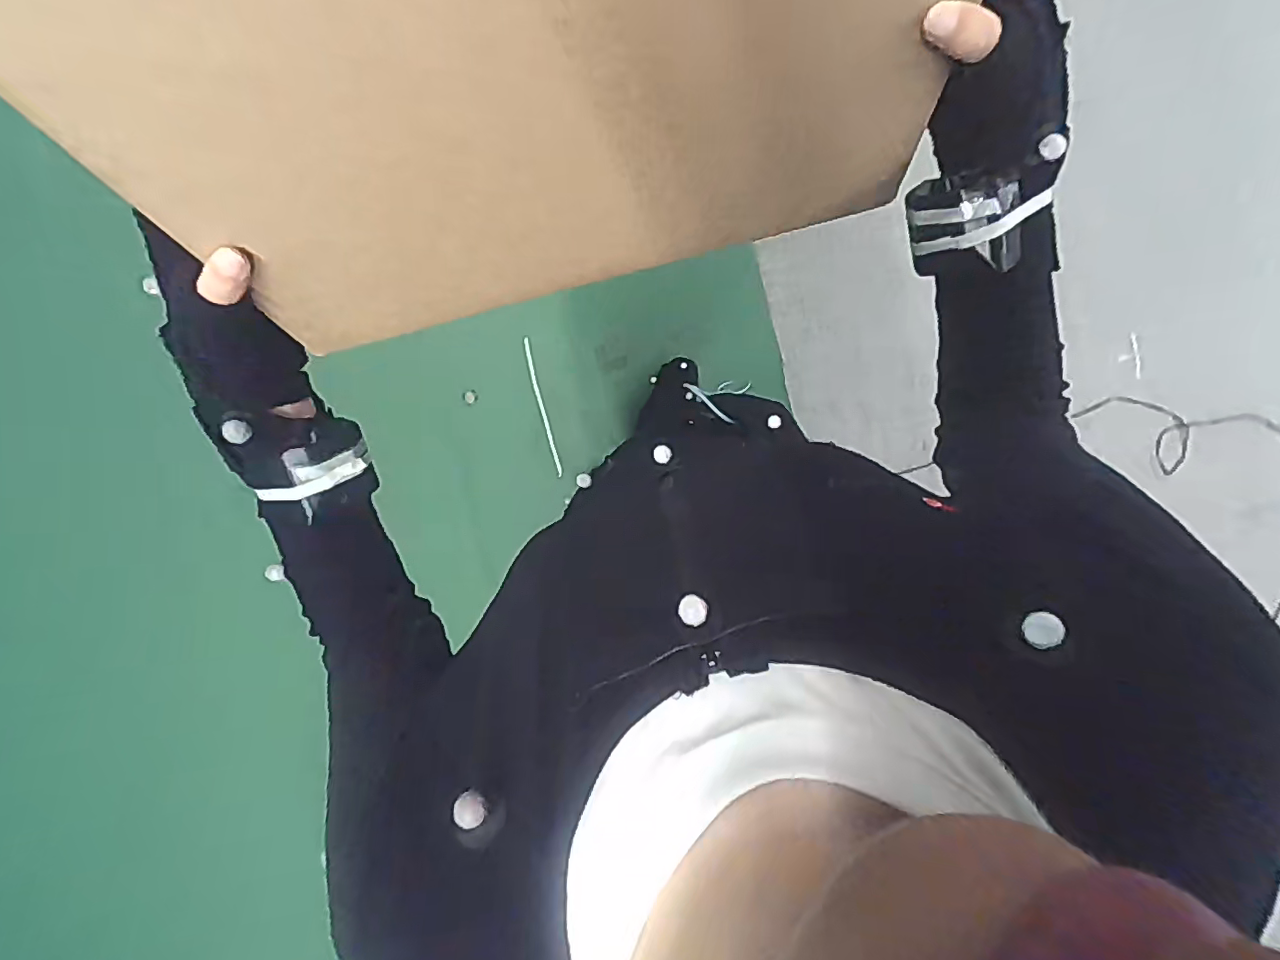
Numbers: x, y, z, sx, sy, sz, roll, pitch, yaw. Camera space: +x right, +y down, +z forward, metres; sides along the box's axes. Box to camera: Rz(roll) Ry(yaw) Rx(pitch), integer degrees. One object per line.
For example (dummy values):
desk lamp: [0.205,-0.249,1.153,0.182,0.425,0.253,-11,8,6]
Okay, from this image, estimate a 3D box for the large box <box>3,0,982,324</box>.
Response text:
large box: [-0.061,-0.332,0.273,0.408,0.320,0.320,-13,71,-1]
